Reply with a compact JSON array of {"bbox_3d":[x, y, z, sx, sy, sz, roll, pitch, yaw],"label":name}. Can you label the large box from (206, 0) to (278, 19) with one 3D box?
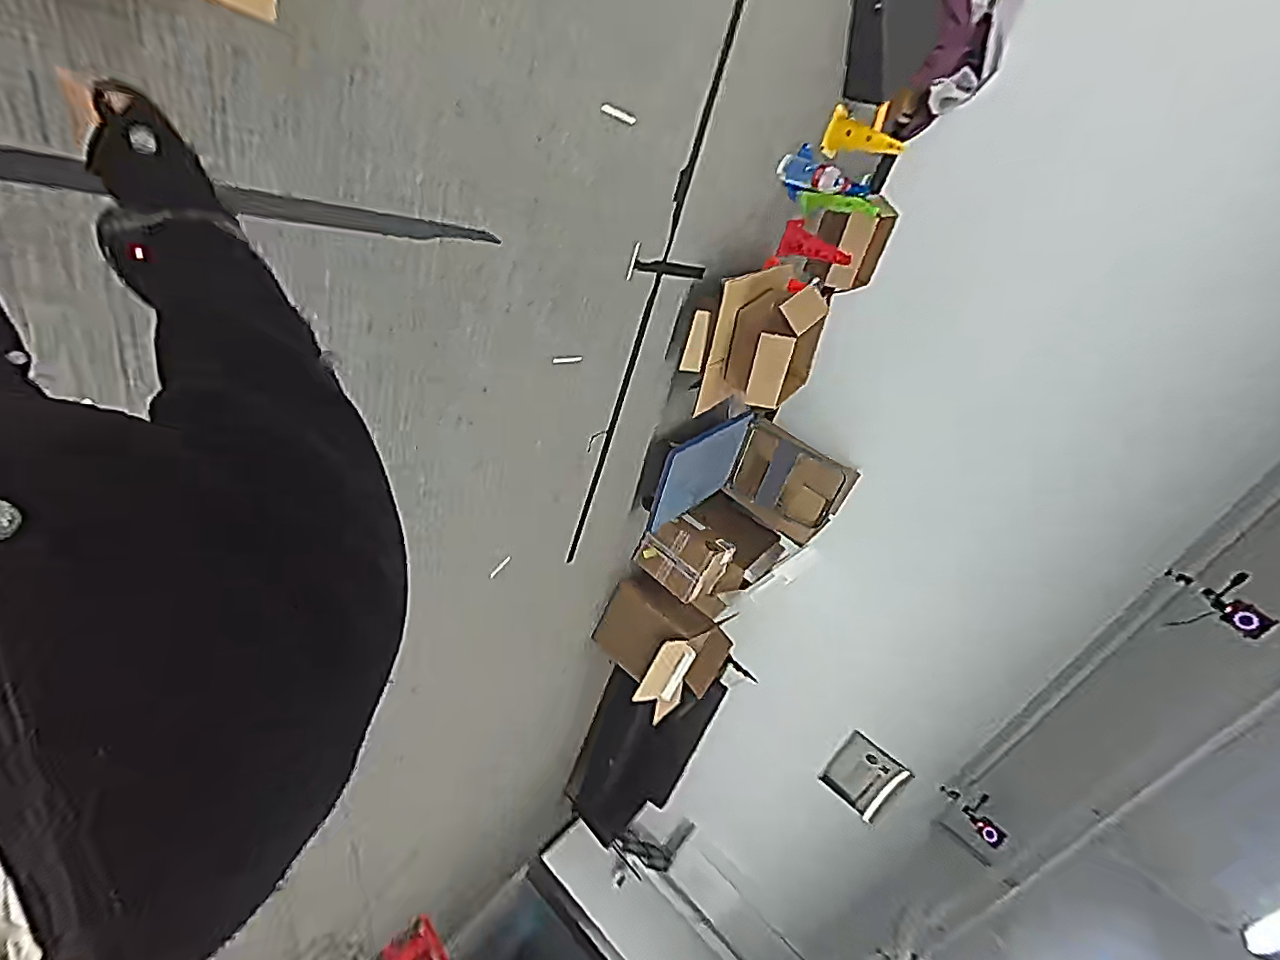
[{"bbox_3d":[-0.690,-0.802,0.596,0.408,0.320,0.320,-19,137,-53],"label":"large box"}]
